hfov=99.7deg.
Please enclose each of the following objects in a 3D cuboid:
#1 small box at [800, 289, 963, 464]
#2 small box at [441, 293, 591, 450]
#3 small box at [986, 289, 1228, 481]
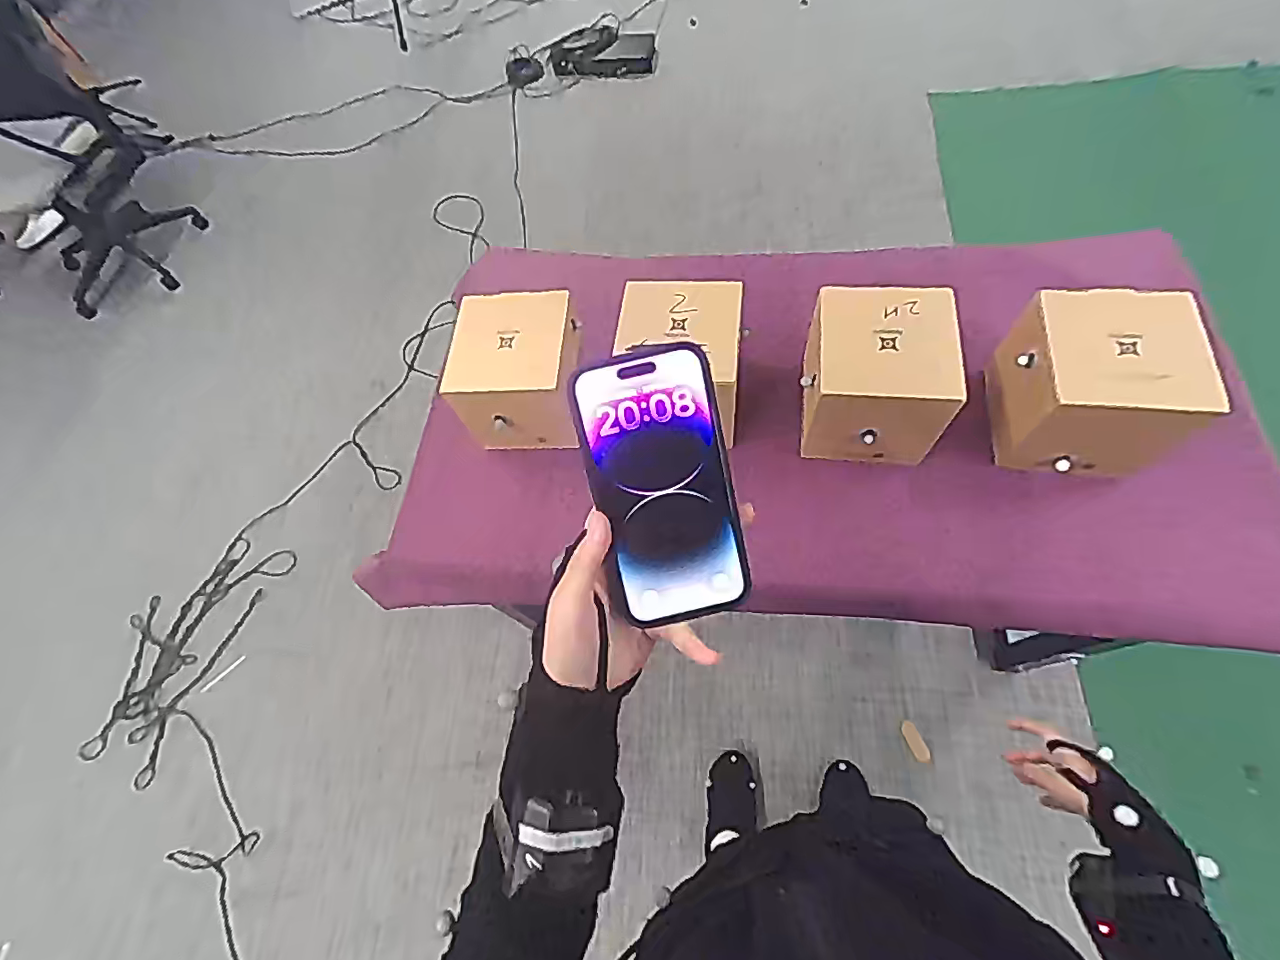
[{"bbox_3d":[0.318,-0.137,0.744,0.168,0.176,0.179,5,64,10],"label":"small box"},{"bbox_3d":[-0.176,-0.155,0.826,0.168,0.176,0.179,-1,63,8],"label":"small box"},{"bbox_3d":[0.574,-0.119,0.699,0.168,0.176,0.179,6,65,12],"label":"small box"}]
